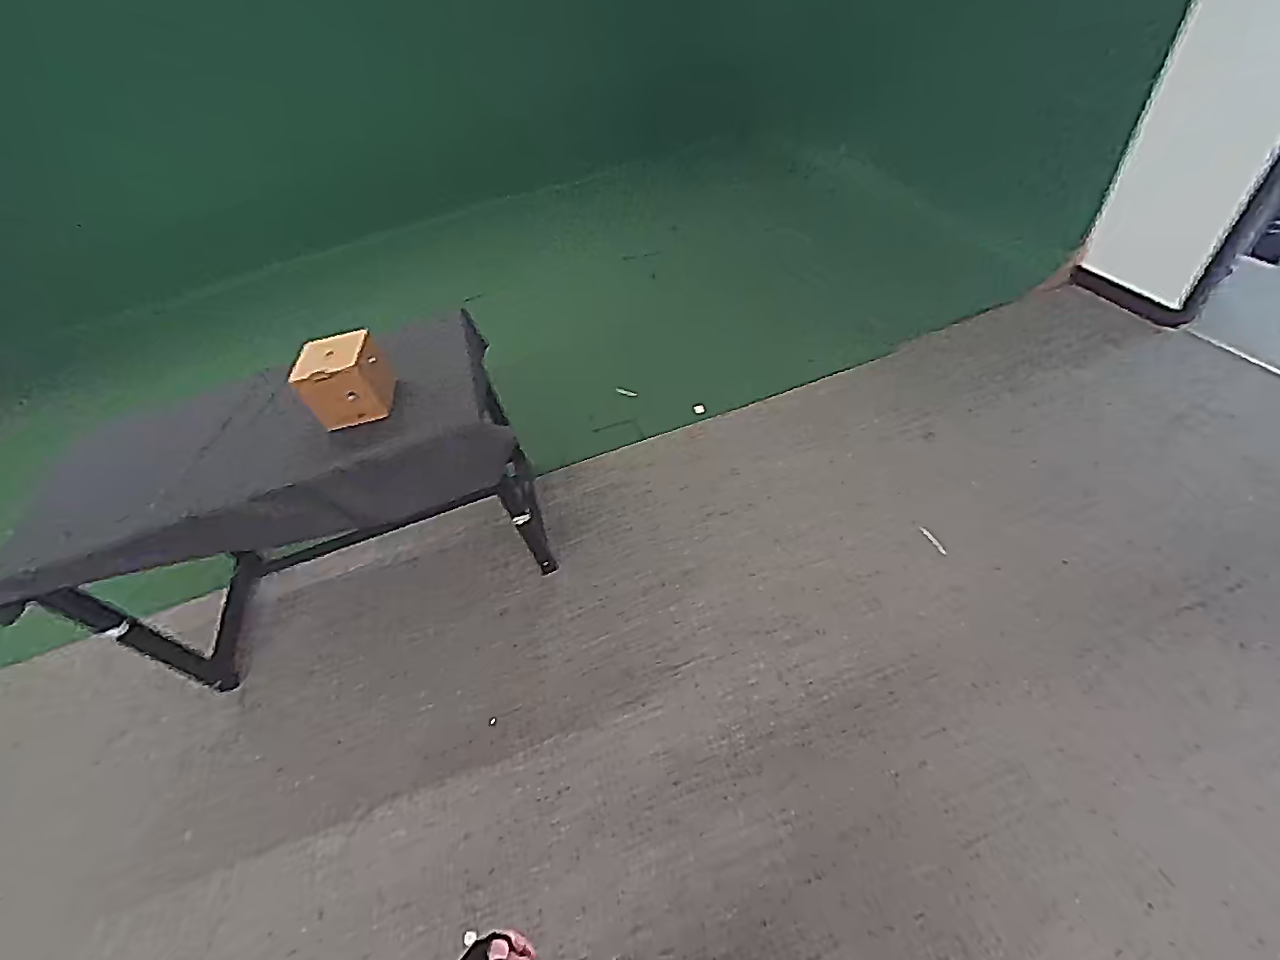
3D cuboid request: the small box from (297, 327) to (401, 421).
[{"bbox_3d":[-0.754,-0.272,1.426,0.168,0.176,0.179,-12,46,0],"label":"small box"}]
